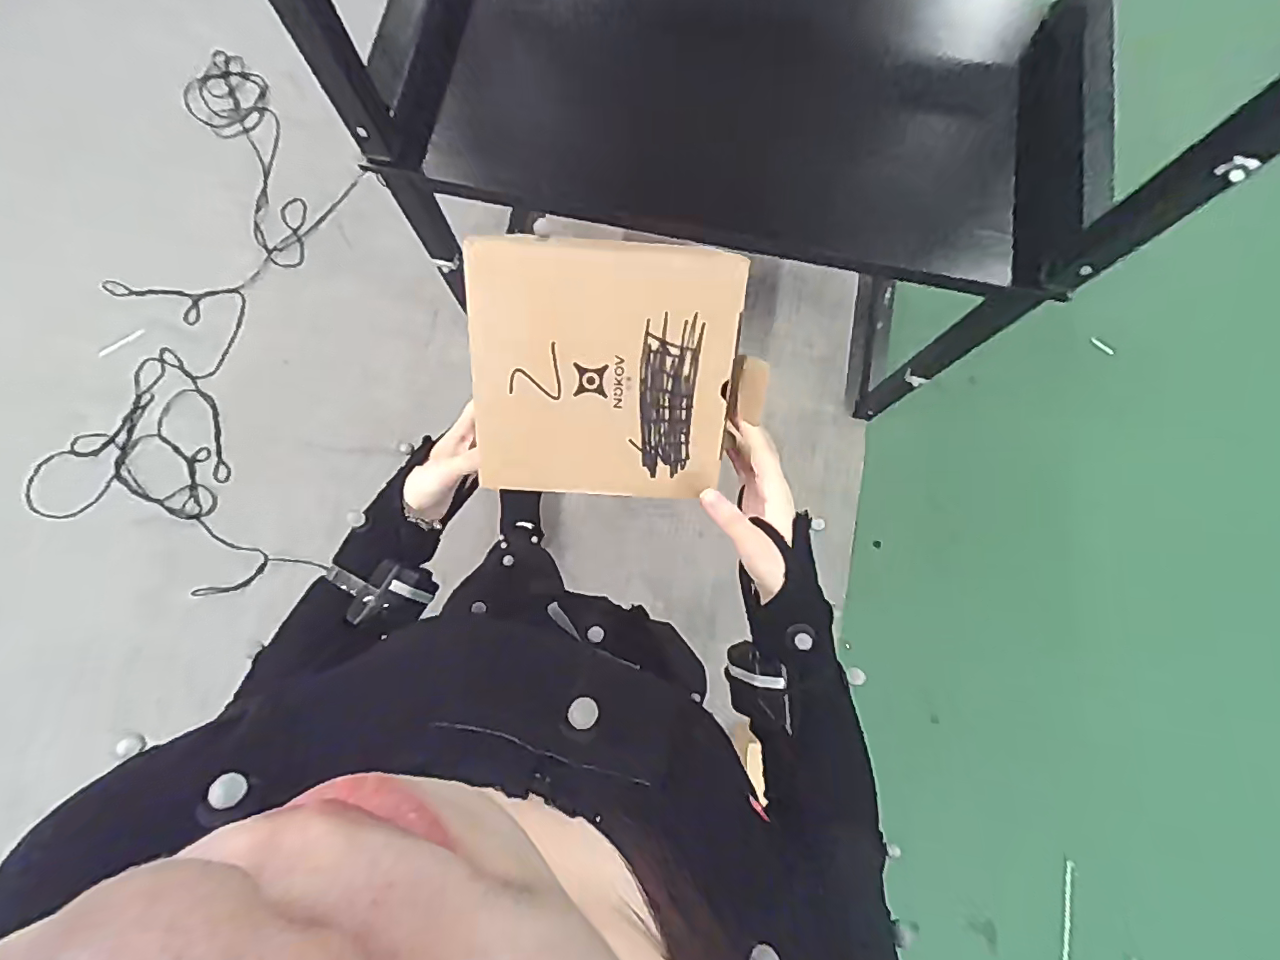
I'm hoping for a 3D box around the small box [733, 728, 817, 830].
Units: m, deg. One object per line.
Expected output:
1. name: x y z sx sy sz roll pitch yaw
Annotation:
1. small box: 0.328 0.726 1.332 0.168 0.176 0.179 4 80 0
